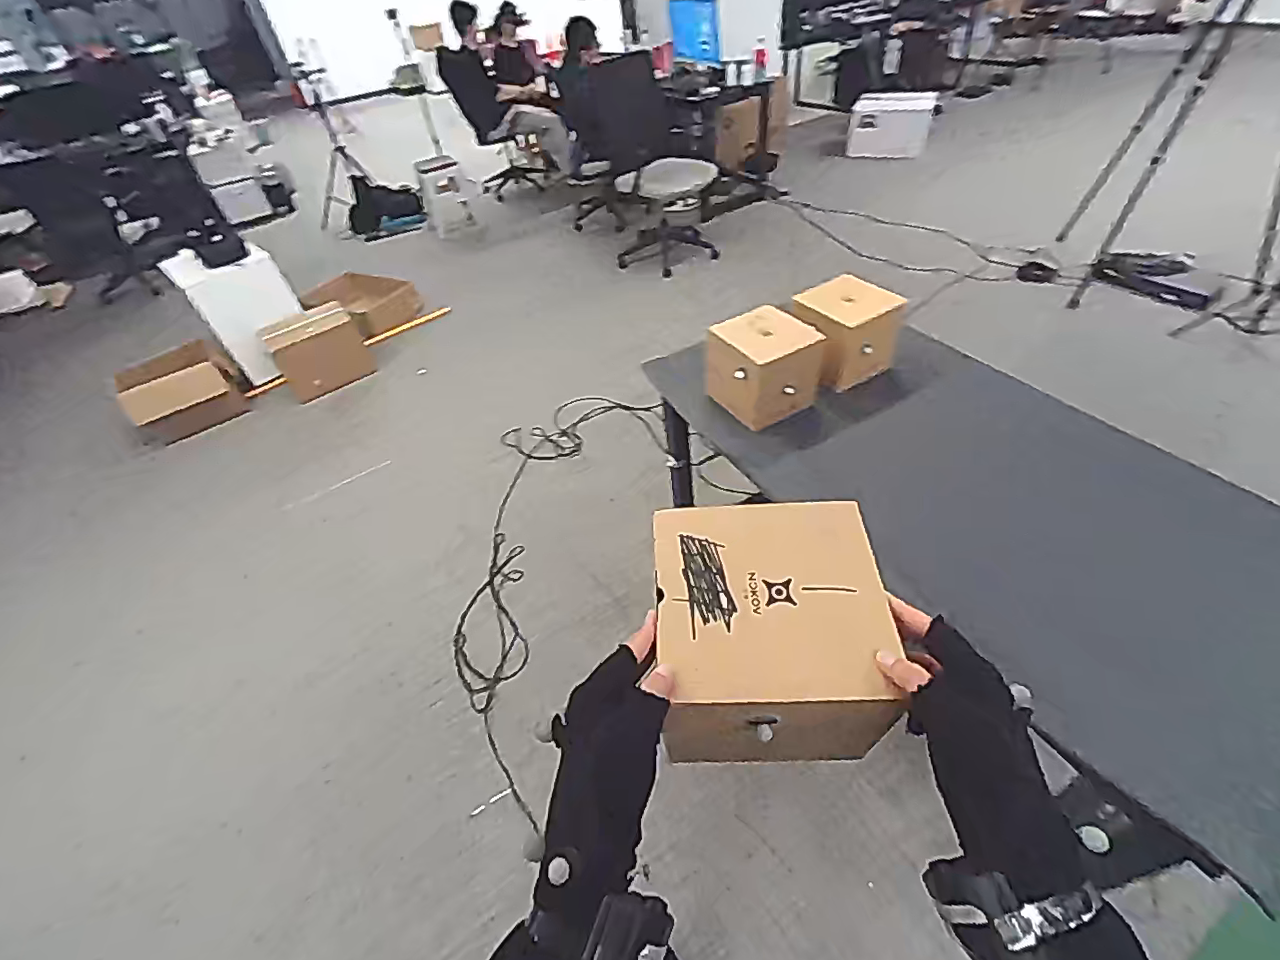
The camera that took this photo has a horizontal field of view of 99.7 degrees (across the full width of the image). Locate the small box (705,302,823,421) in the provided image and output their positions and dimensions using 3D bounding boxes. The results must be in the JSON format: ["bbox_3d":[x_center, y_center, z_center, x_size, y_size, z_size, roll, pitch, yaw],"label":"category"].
[{"bbox_3d":[0.254,-0.243,1.139,0.168,0.176,0.179,-25,48,-18],"label":"small box"}]

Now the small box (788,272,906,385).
[{"bbox_3d":[0.449,-0.332,1.204,0.168,0.176,0.179,-27,47,-17],"label":"small box"}]

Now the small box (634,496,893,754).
[{"bbox_3d":[0.091,0.132,0.474,0.179,0.176,0.168,-4,51,3],"label":"small box"}]
